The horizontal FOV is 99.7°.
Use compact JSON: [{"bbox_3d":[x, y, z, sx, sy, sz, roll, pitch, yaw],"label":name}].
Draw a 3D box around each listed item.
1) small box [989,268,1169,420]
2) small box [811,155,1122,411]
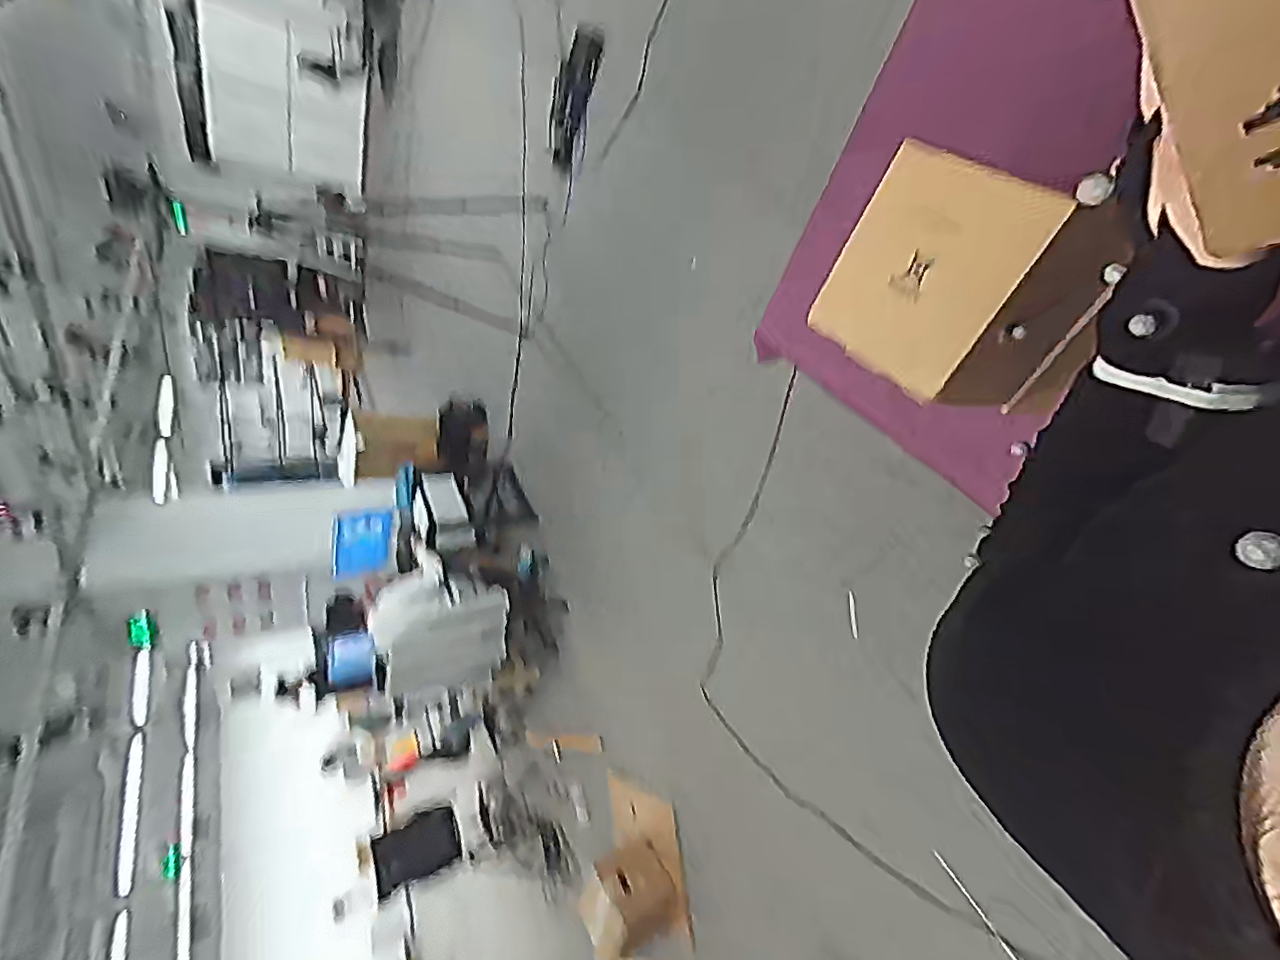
[{"bbox_3d":[0.447,-0.187,0.630,0.179,0.176,0.168,56,135,37],"label":"small box"},{"bbox_3d":[0.315,-0.182,0.535,0.168,0.176,0.179,53,133,37],"label":"small box"}]
